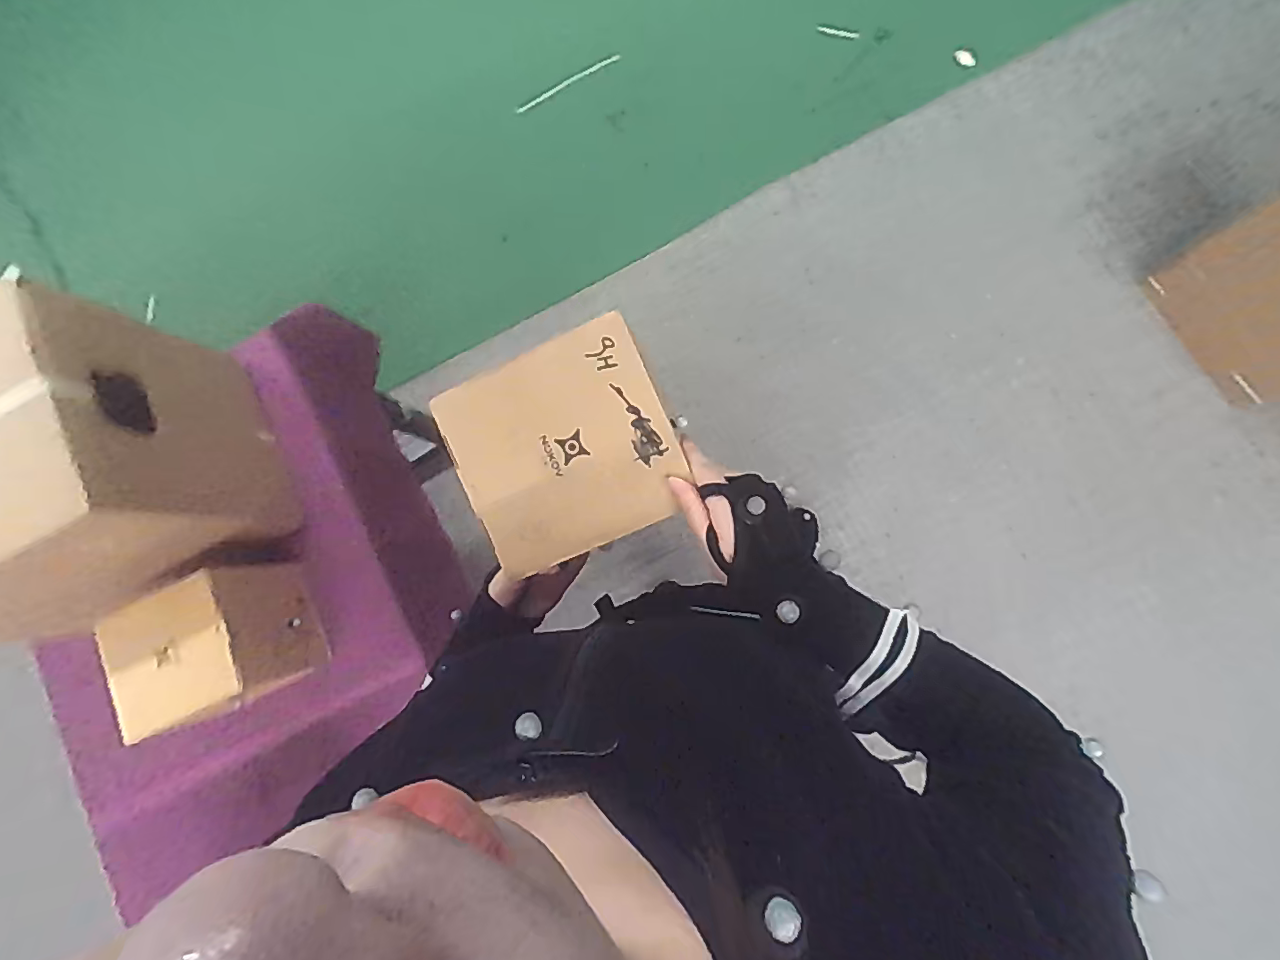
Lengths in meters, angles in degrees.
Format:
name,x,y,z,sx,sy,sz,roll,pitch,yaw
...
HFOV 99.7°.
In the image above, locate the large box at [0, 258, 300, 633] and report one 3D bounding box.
name,x,y,z,sx,sy,sz,roll,pitch,yaw
large box,-0.796,-0.012,0.748,0.408,0.320,0.320,-27,81,2
